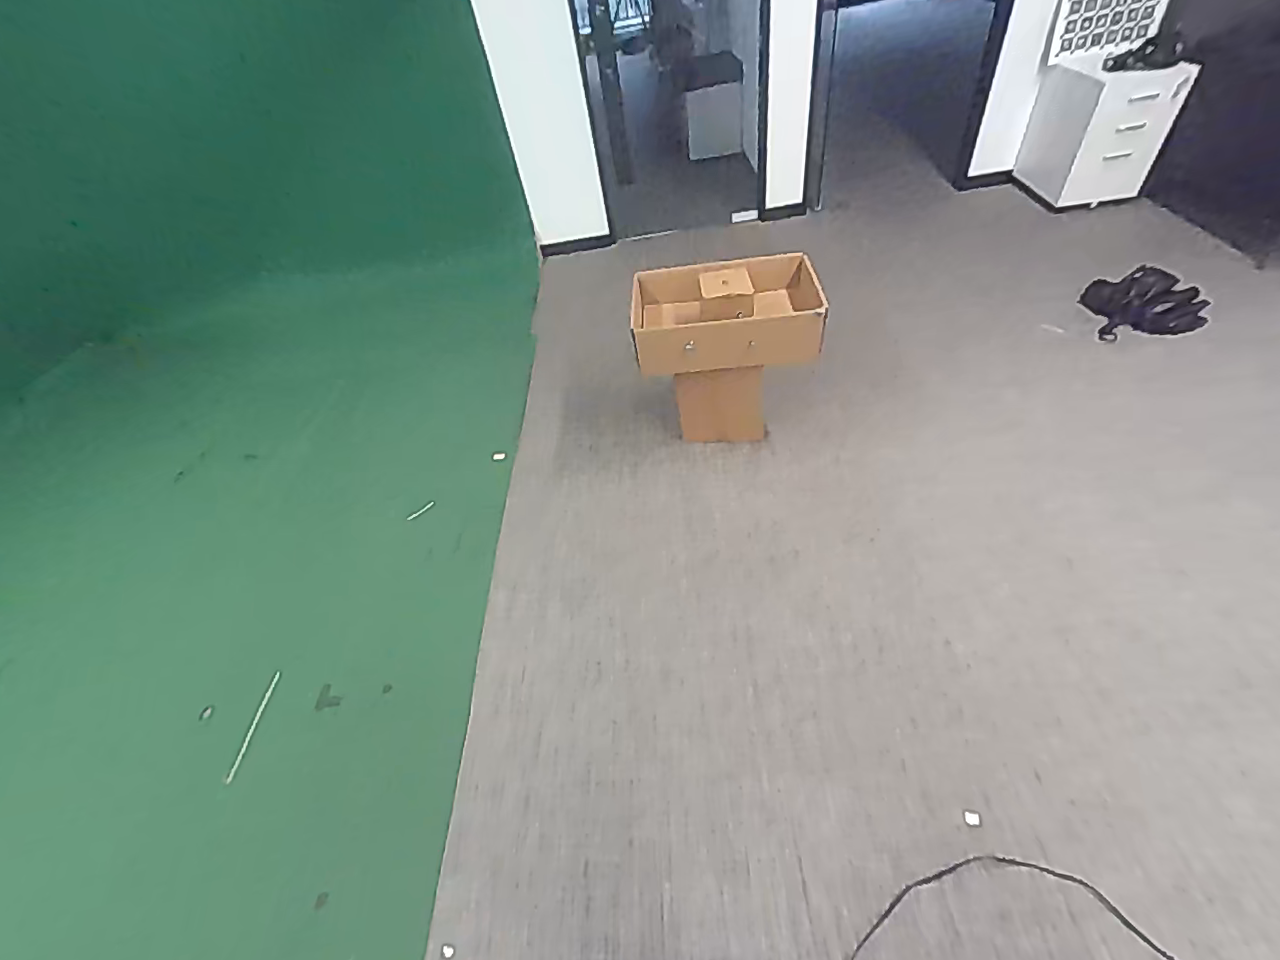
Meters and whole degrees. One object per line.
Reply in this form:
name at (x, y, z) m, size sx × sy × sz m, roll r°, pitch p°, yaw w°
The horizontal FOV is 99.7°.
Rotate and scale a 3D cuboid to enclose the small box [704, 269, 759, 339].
small box at (0.312, -0.597, 1.852) m, size 0.168 × 0.176 × 0.179 m, roll -6°, pitch 45°, yaw 4°
